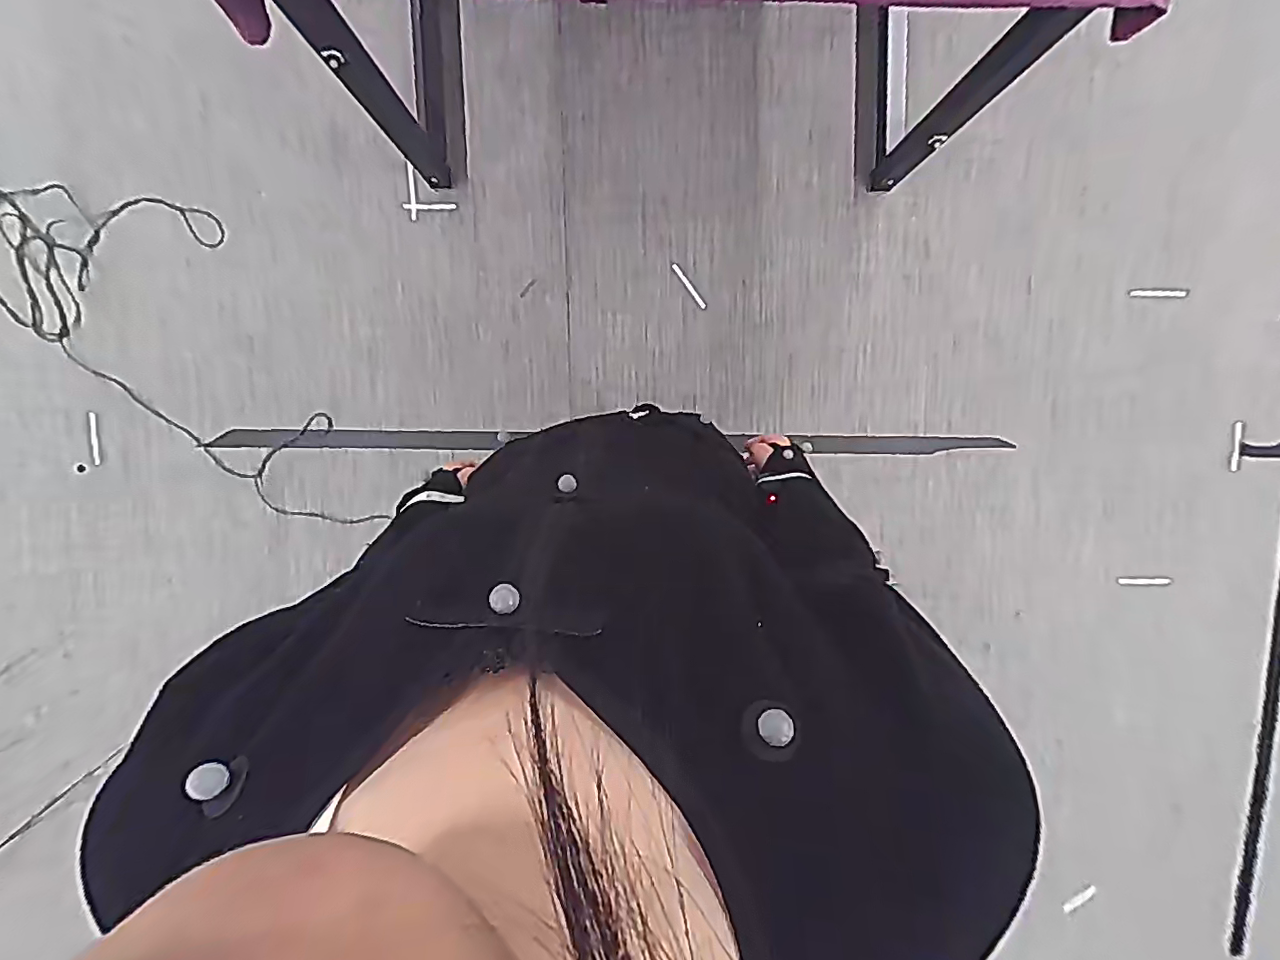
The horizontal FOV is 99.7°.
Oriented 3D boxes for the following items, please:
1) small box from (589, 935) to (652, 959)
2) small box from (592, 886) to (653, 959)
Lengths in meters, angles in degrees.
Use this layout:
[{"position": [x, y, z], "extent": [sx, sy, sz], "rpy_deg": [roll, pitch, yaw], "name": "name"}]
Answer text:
[{"position": [-0.044, 1.330, 1.390], "extent": [0.168, 0.176, 0.179], "rpy_deg": [-6, 97, -1], "name": "small box"}, {"position": [-0.048, 1.308, 1.553], "extent": [0.168, 0.176, 0.179], "rpy_deg": [-4, 97, 0], "name": "small box"}]
